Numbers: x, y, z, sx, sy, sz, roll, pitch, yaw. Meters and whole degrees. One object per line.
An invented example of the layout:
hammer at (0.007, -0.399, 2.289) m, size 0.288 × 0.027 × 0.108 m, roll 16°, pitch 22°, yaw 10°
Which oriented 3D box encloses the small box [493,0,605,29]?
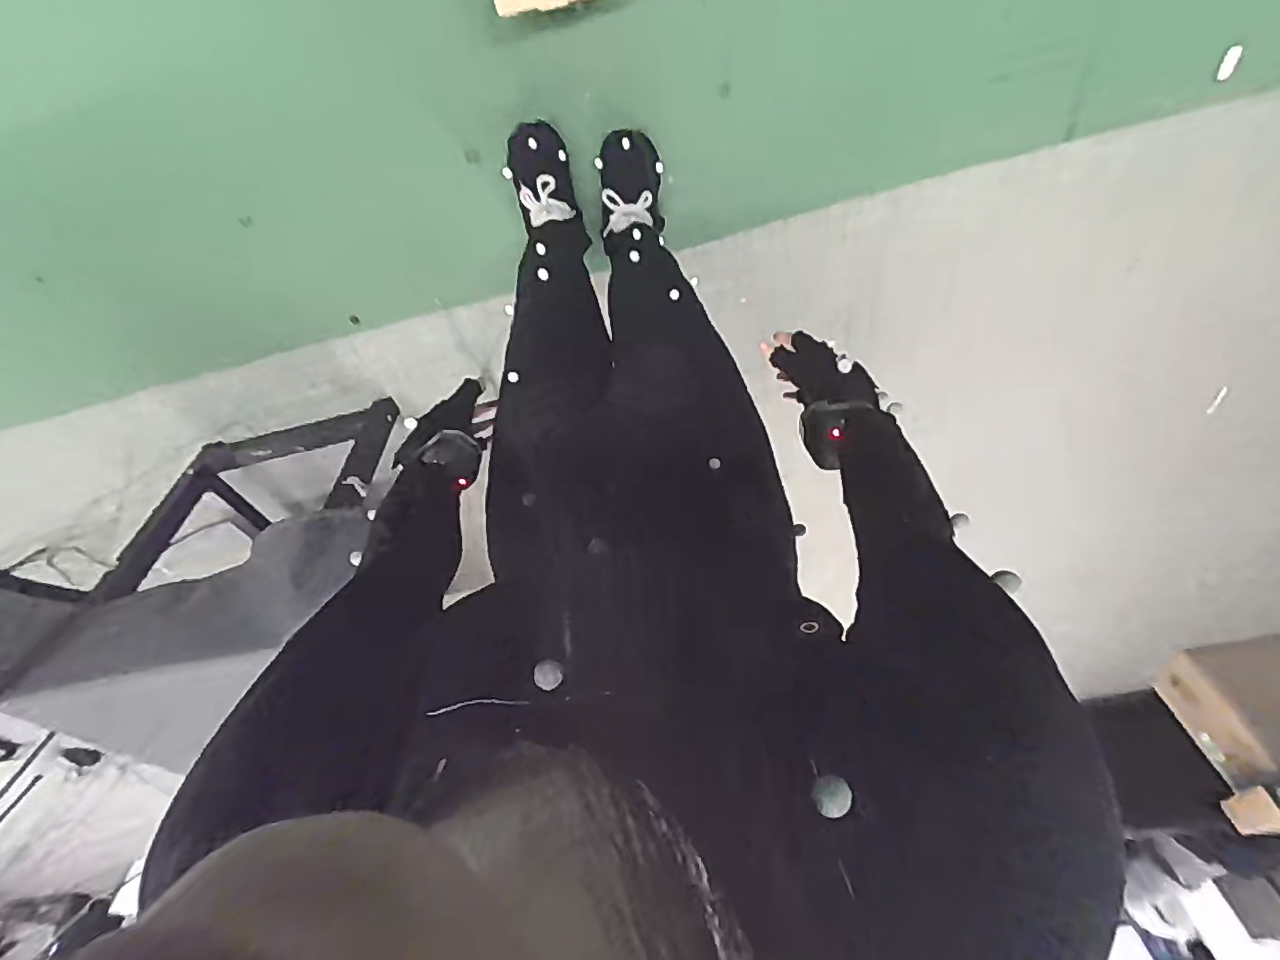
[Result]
small box at (-0.147, -0.805, 0.802) m, size 0.168 × 0.176 × 0.179 m, roll -9°, pitch 134°, yaw 3°
